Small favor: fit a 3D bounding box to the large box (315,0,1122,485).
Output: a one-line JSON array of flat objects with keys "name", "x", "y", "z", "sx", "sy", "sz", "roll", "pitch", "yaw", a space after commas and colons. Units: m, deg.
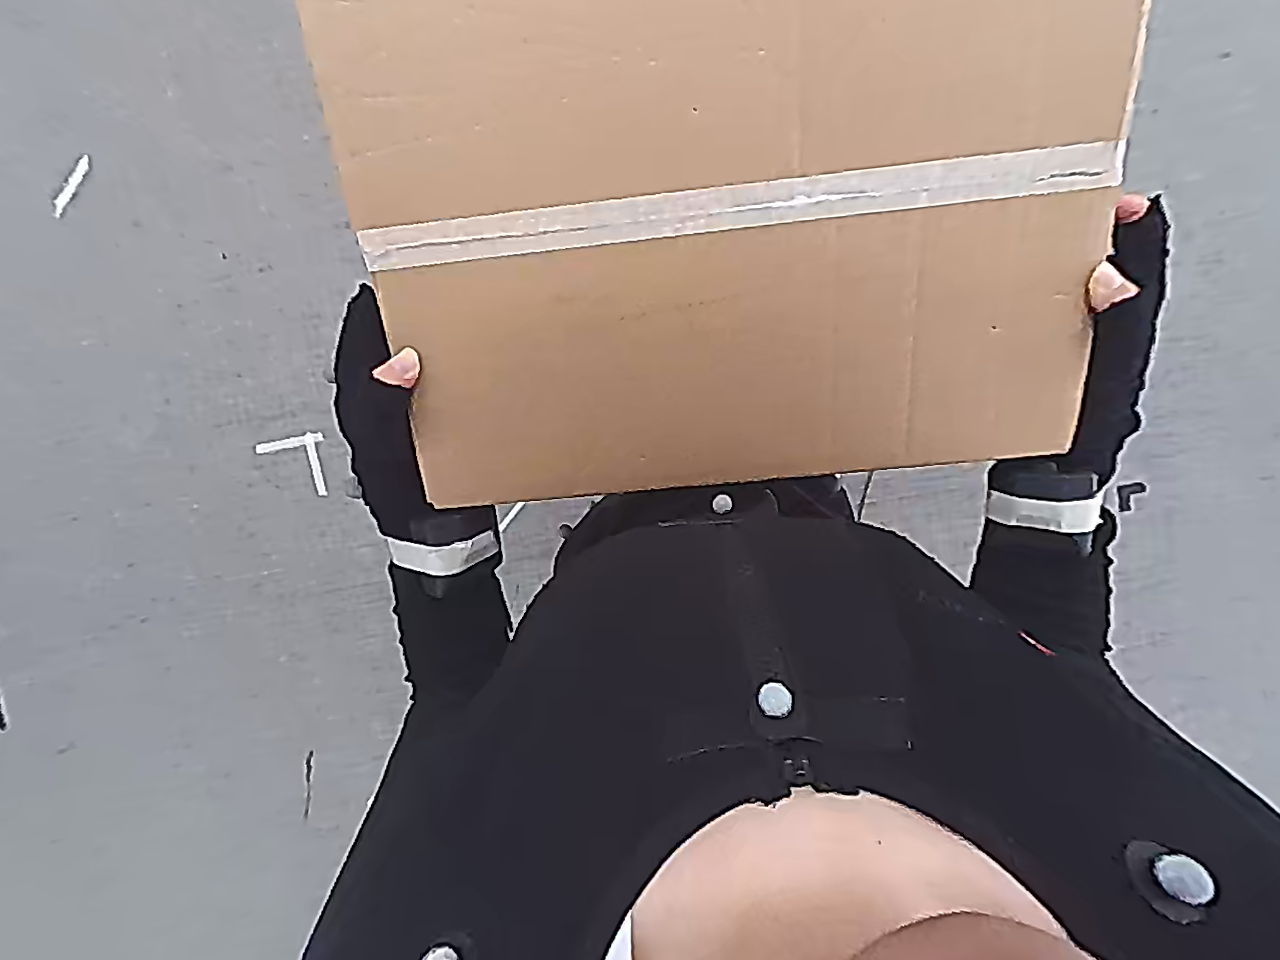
[{"name": "large box", "x": 0.046, "y": -0.210, "z": 0.438, "sx": 0.408, "sy": 0.320, "sz": 0.320, "roll": -5, "pitch": 111, "yaw": 2}]
